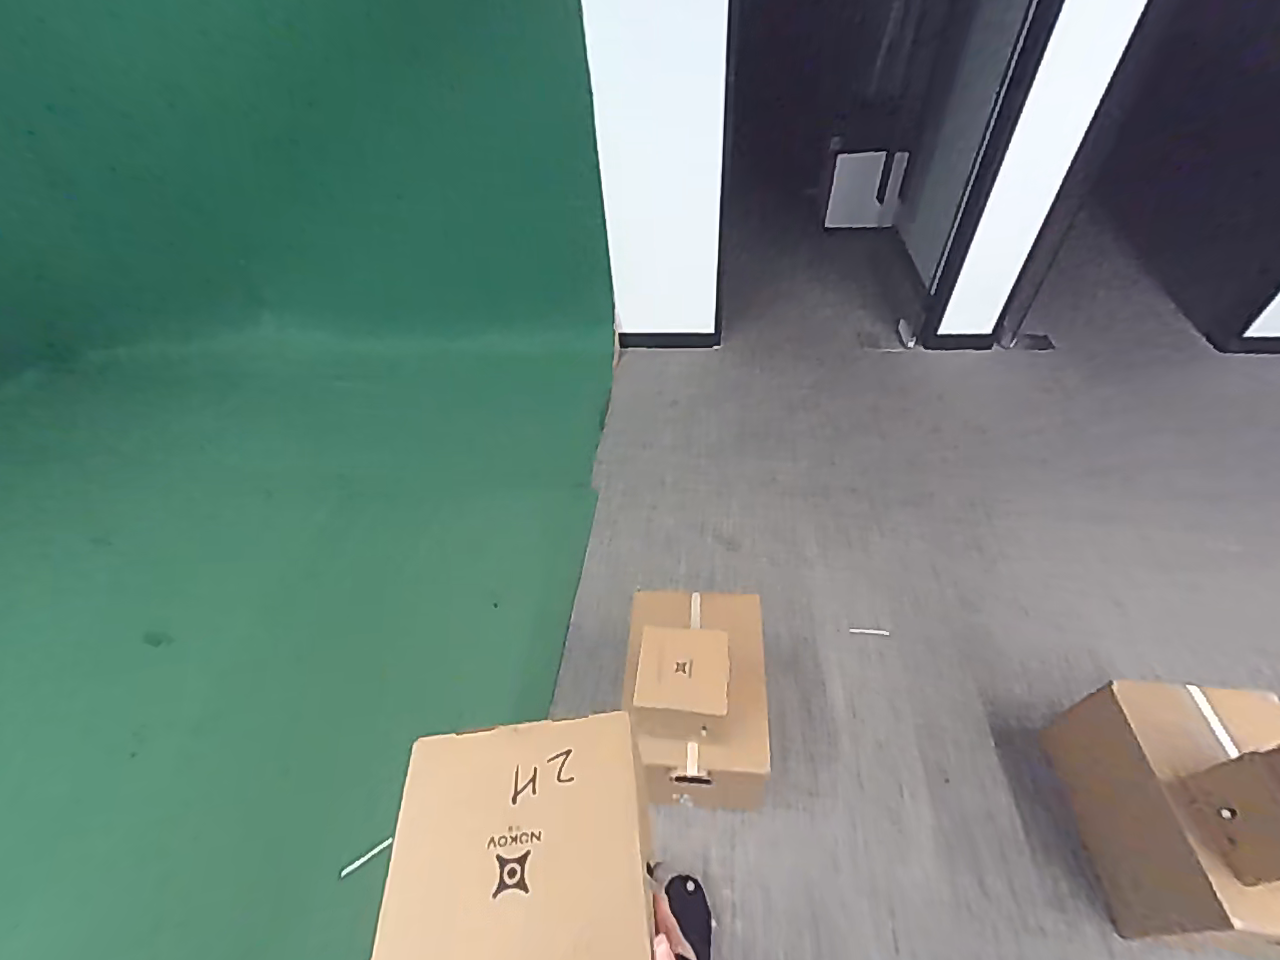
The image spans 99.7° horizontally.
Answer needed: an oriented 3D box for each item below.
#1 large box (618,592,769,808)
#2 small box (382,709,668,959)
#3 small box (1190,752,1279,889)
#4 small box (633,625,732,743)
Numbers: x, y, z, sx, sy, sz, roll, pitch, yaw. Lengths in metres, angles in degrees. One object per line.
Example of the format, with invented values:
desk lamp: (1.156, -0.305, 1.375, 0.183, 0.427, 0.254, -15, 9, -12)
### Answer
large box: (0.129, 0.529, 1.313, 0.320, 0.320, 0.408, 1, 47, 6)
small box: (-0.069, 0.302, 0.410, 0.168, 0.176, 0.179, -6, 44, -1)
small box: (1.081, 0.558, 0.877, 0.179, 0.176, 0.168, 0, 48, 6)
small box: (0.092, 0.412, 1.088, 0.179, 0.176, 0.168, 2, 47, 10)
